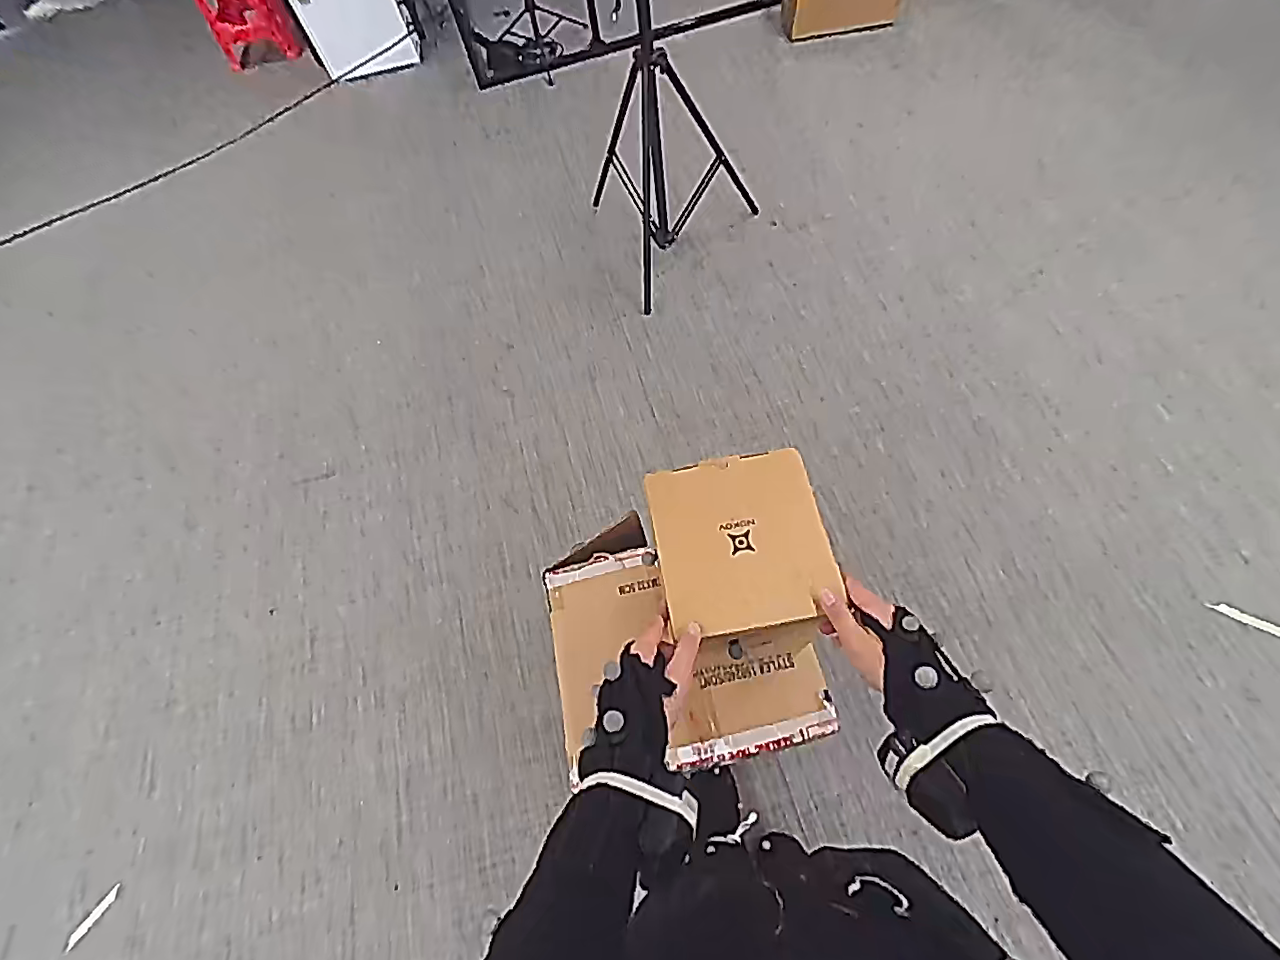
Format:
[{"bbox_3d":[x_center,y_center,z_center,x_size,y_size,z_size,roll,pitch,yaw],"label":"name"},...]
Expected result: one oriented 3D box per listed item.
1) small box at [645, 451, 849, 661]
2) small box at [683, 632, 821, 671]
[{"bbox_3d":[0.106,0.095,0.598,0.168,0.176,0.179,-11,63,0],"label":"small box"},{"bbox_3d":[0.134,0.164,0.760,0.179,0.176,0.168,-10,64,1],"label":"small box"}]
